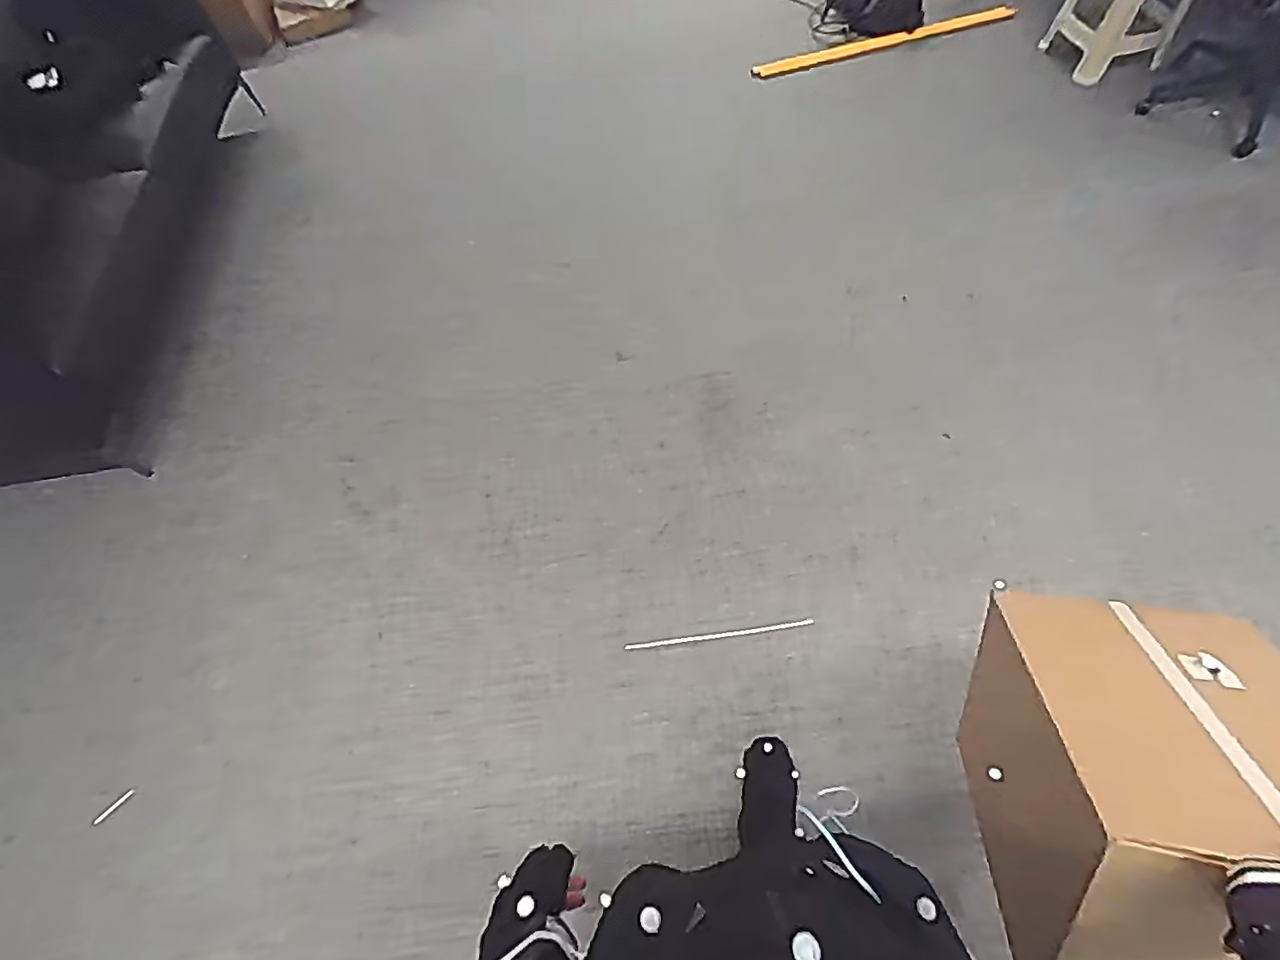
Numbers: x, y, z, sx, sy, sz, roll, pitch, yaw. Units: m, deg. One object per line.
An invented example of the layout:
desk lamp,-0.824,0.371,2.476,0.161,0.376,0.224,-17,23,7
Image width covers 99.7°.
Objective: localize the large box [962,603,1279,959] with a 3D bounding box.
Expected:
large box,0.643,0.413,0.680,0.320,0.320,0.408,5,23,17
